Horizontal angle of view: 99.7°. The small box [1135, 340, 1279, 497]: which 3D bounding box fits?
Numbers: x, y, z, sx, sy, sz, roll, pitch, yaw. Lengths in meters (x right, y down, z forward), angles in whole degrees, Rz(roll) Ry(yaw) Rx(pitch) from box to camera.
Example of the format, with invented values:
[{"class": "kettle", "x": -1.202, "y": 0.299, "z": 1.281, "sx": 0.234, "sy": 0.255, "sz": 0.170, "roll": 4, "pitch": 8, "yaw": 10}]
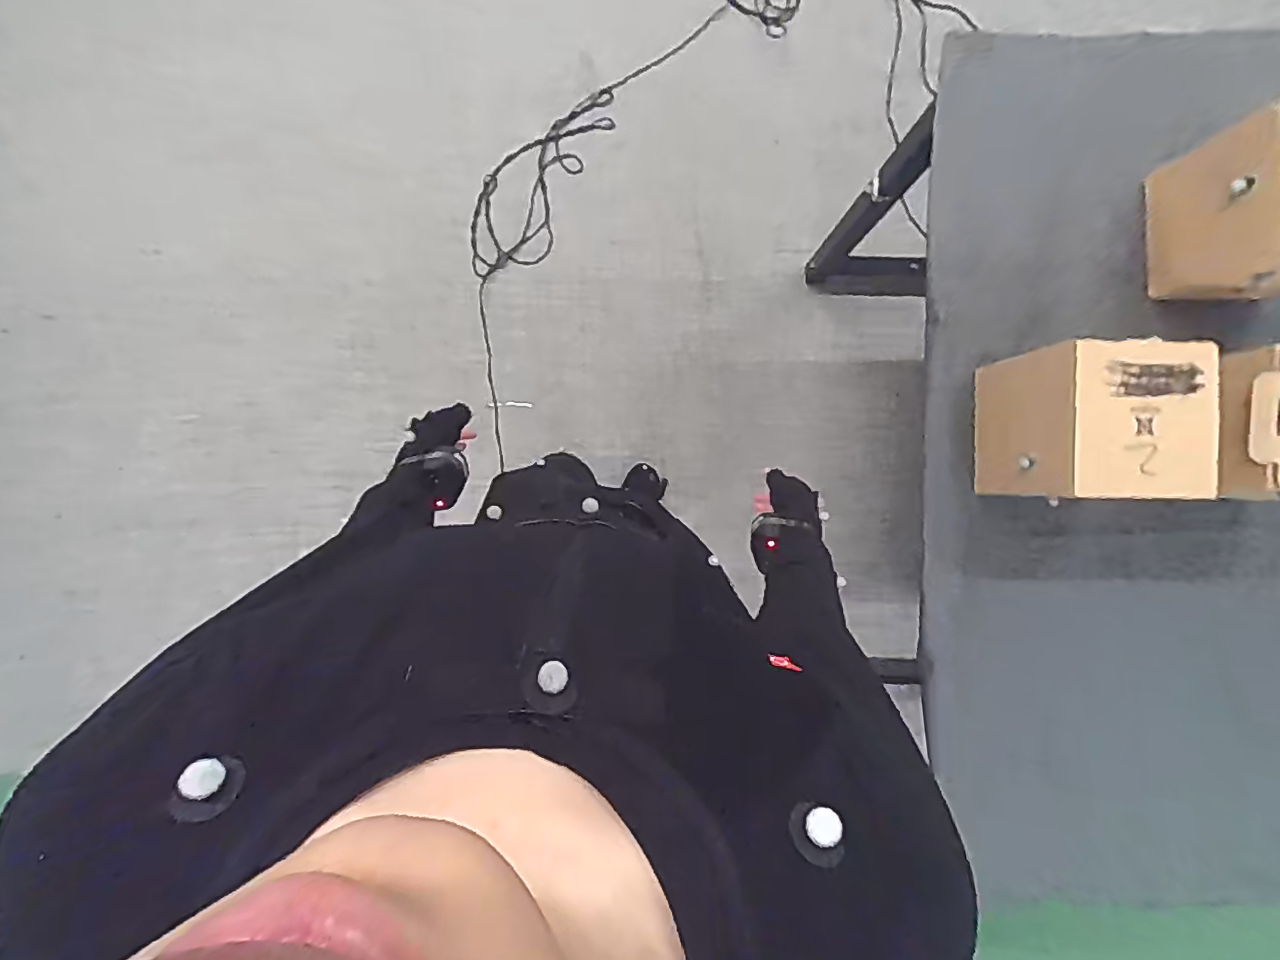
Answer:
[{"class": "small box", "x": 0.783, "y": -0.066, "z": 0.681, "sx": 0.179, "sy": 0.176, "sz": 0.168, "roll": 5, "pitch": 90, "yaw": -2}]
